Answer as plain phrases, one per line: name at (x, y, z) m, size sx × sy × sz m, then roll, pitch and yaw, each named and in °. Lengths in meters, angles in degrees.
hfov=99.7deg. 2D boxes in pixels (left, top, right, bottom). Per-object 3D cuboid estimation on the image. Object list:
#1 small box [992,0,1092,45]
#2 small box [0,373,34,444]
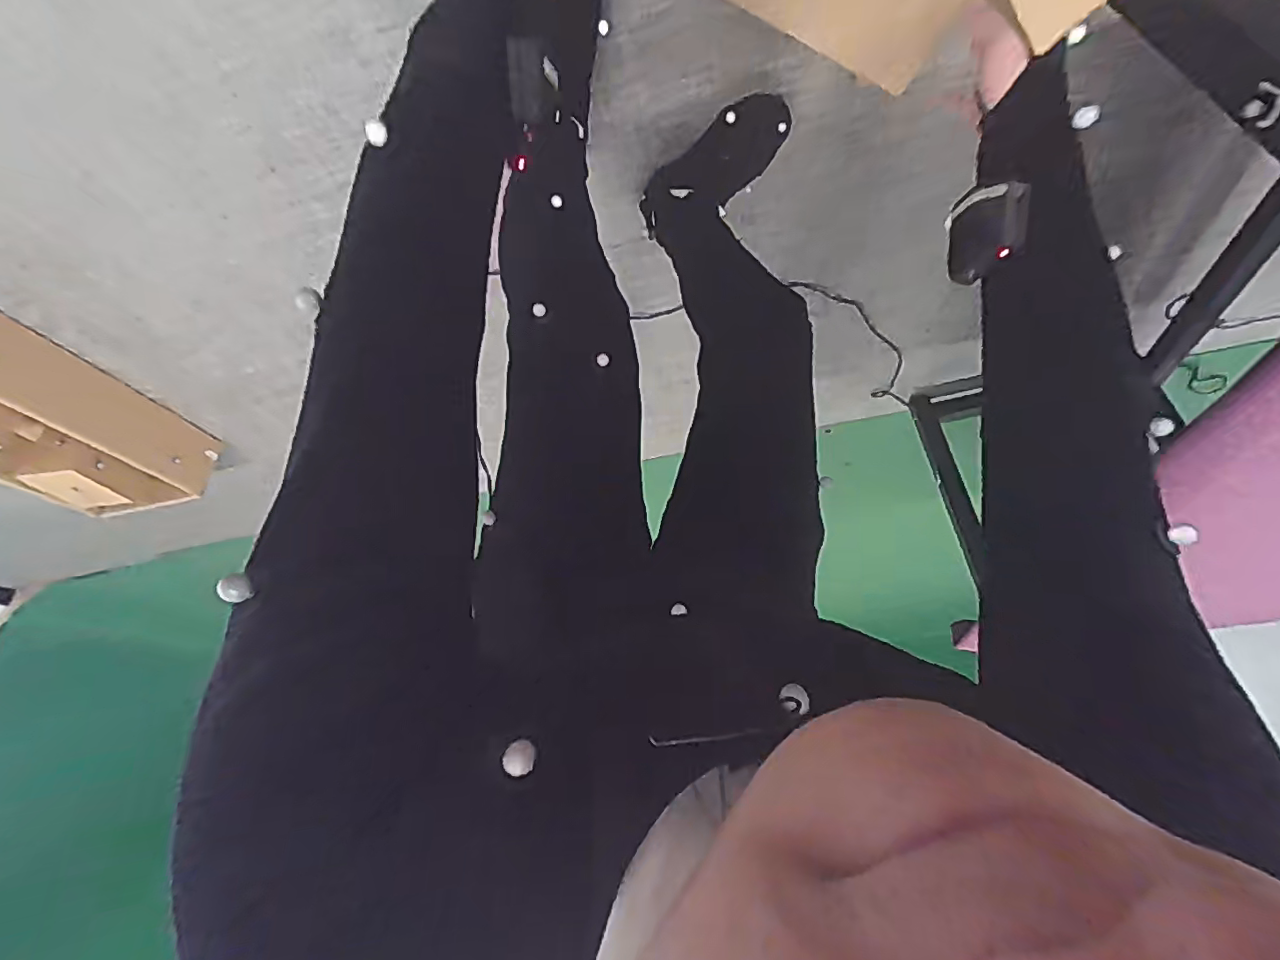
small box at (0.188, -0.356, 0.228) m, size 0.179 × 0.176 × 0.168 m, roll 20°, pitch 143°, yaw -36°
small box at (-1.569, -0.174, 1.226) m, size 0.168 × 0.176 × 0.179 m, roll -13°, pitch 149°, yaw 16°
